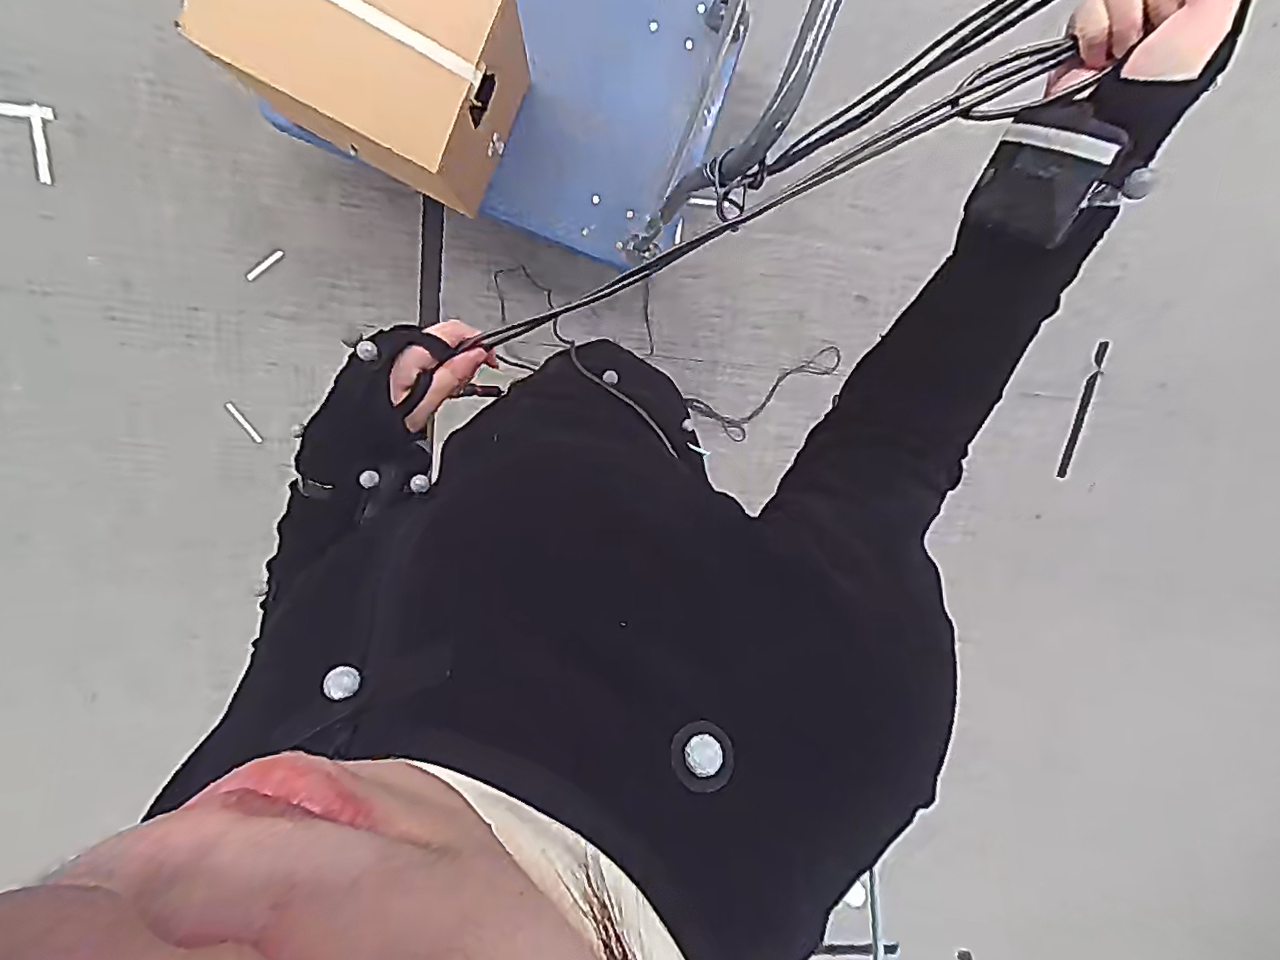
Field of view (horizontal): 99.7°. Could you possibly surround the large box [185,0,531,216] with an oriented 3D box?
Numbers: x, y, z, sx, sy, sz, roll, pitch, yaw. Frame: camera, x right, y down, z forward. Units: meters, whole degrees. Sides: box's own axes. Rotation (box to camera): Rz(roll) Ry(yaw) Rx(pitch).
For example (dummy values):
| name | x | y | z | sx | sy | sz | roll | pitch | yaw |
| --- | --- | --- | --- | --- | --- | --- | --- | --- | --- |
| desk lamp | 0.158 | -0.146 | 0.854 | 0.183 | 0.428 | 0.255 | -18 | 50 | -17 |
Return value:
| name | x | y | z | sx | sy | sz | roll | pitch | yaw |
| --- | --- | --- | --- | --- | --- | --- | --- | --- | --- |
| large box | -0.447 | -0.734 | 0.953 | 0.408 | 0.320 | 0.320 | 24 | 99 | -10 |
